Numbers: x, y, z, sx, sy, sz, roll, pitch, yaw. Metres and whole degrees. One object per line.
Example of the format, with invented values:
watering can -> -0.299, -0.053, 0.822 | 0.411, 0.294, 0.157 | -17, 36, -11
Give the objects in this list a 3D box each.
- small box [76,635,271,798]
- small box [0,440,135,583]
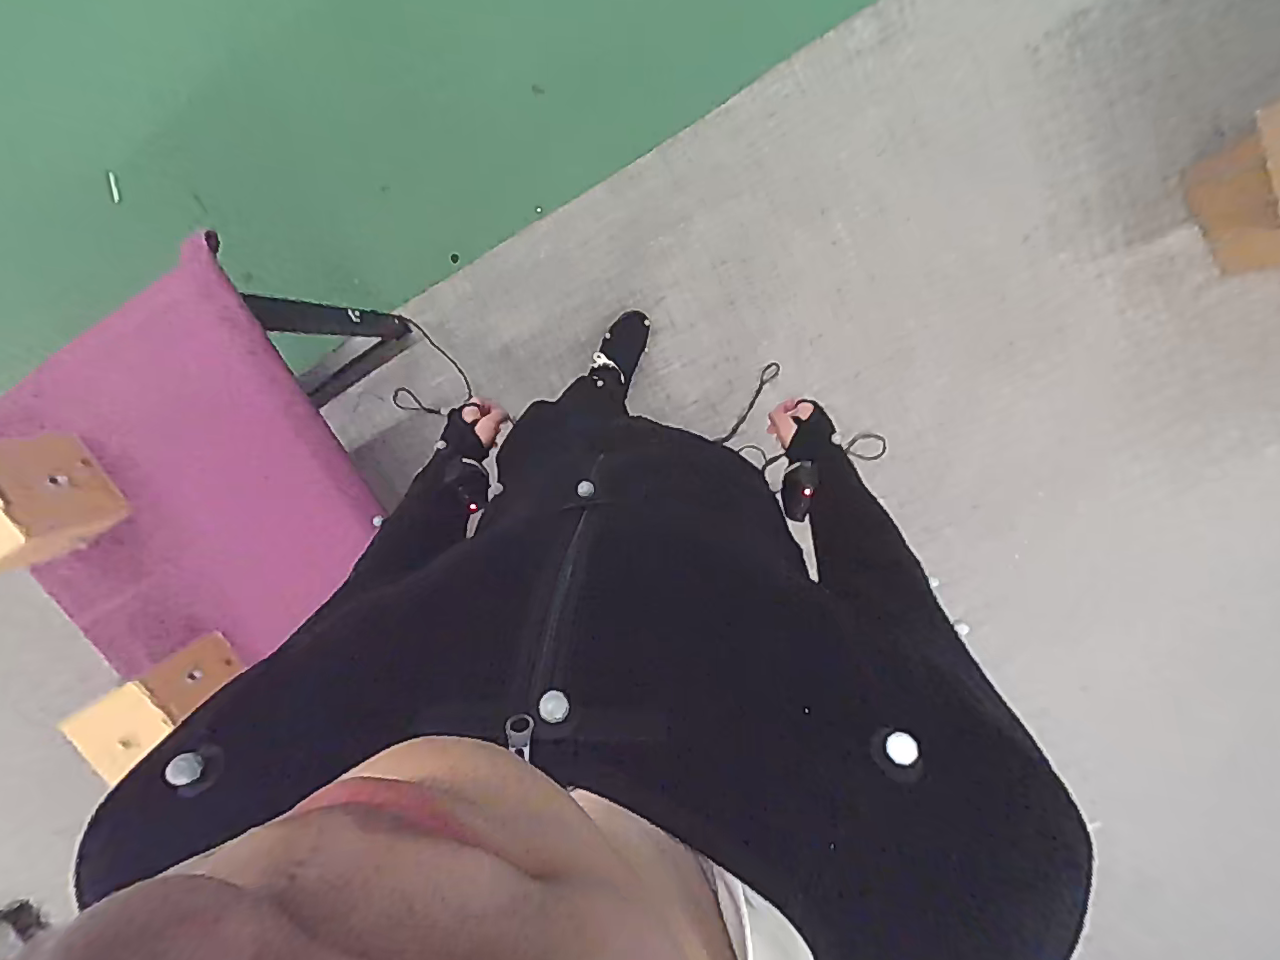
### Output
small box -> -0.804, 0.408, 0.960 | 0.179, 0.176, 0.168 | -30, 98, 10
small box -> -1.004, 0.049, 0.893 | 0.179, 0.176, 0.168 | -28, 99, 9
